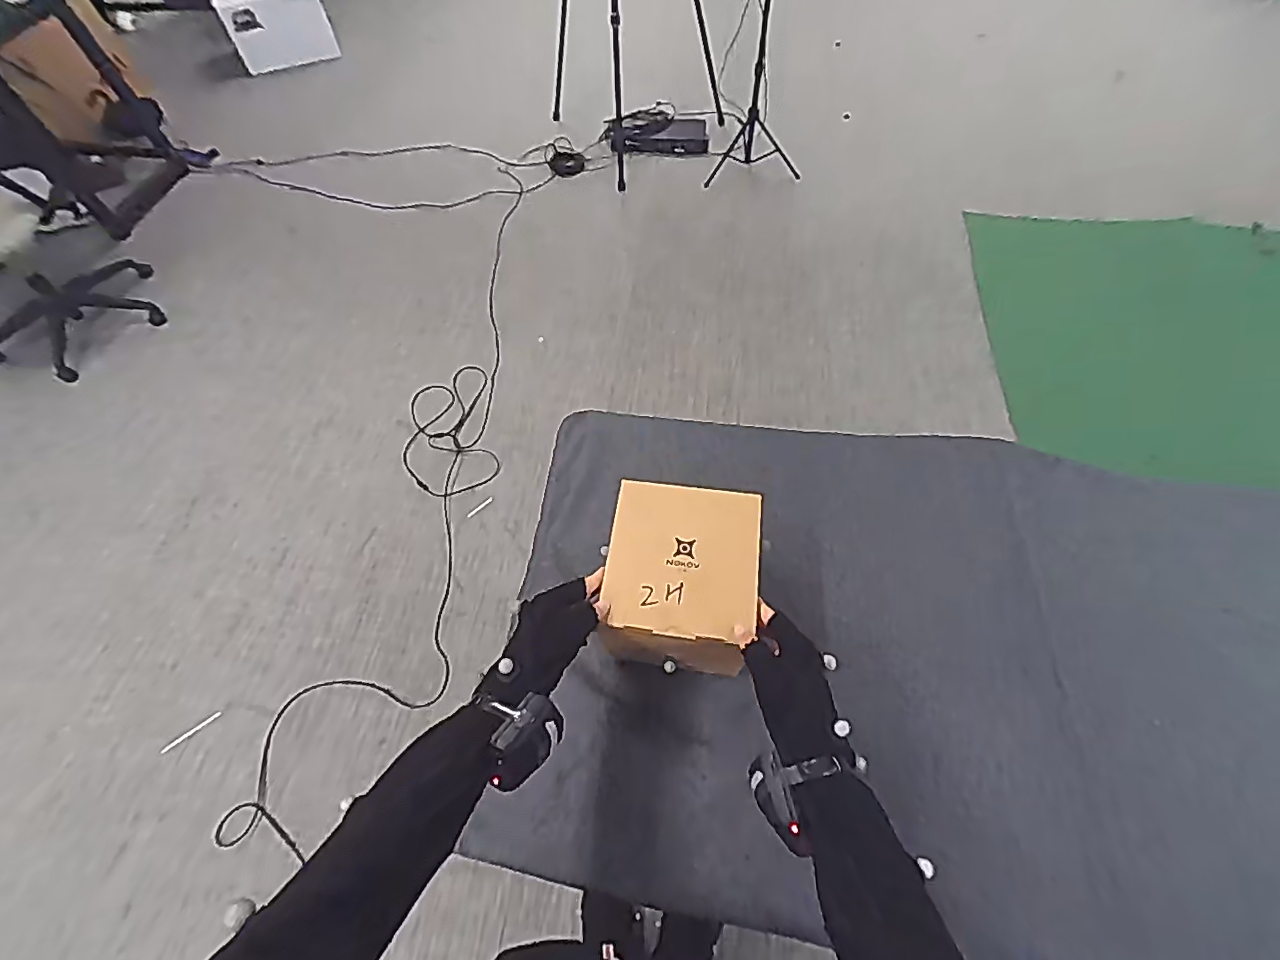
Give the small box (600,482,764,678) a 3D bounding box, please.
[{"bbox_3d":[0.053,0.125,0.661,0.168,0.176,0.179,6,60,6],"label":"small box"}]
